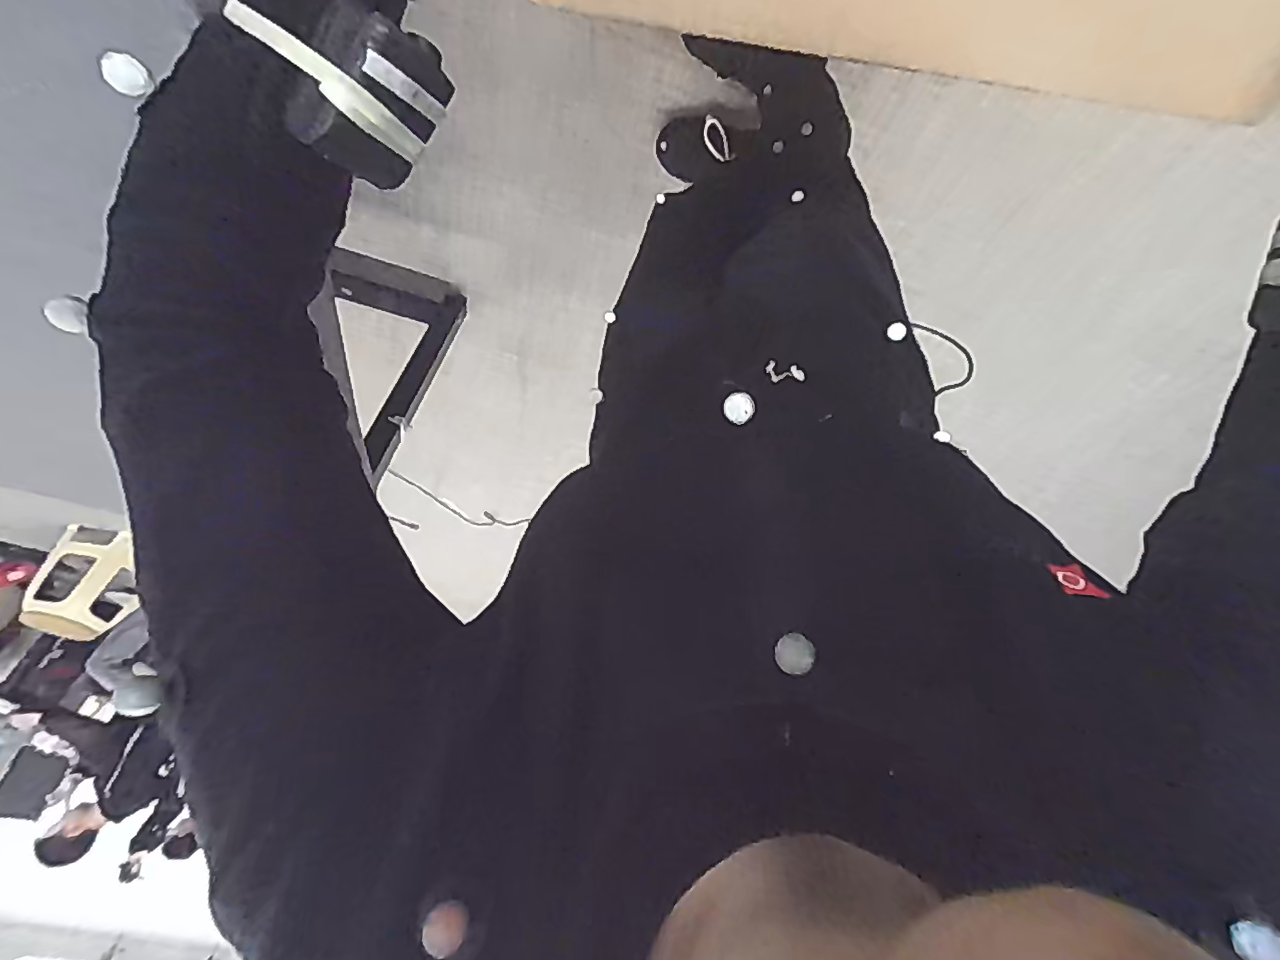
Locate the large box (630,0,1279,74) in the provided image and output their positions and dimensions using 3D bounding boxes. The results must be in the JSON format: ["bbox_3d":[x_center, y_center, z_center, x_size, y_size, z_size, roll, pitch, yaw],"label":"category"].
[{"bbox_3d":[0.160,-0.450,0.272,0.408,0.320,0.320,6,139,-4],"label":"large box"}]
